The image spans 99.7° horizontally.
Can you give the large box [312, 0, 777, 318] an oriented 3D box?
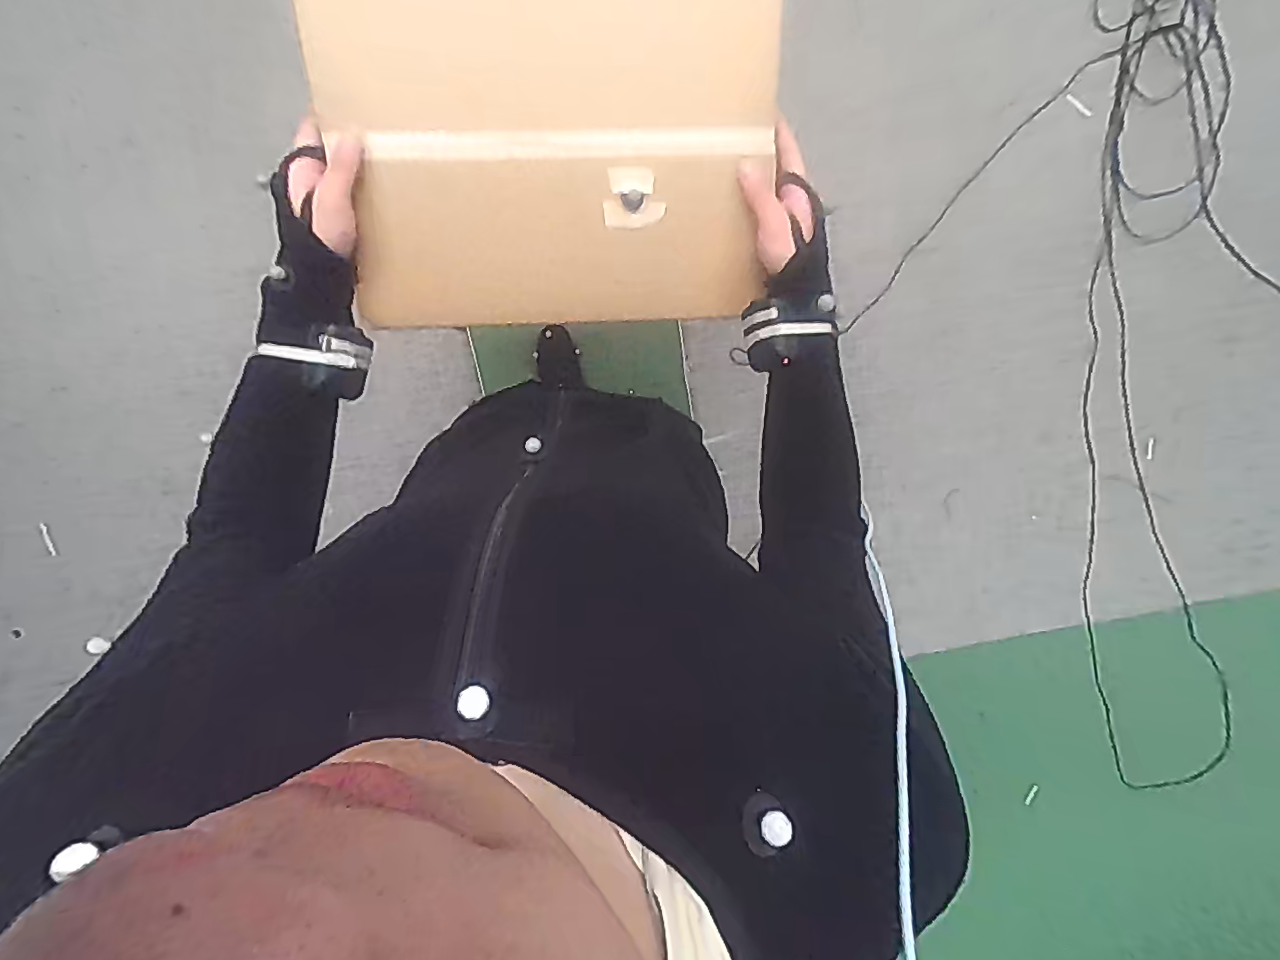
[{"bbox_3d":[-0.089,-0.369,0.636,0.408,0.320,0.320,-3,111,-6],"label":"large box"}]
